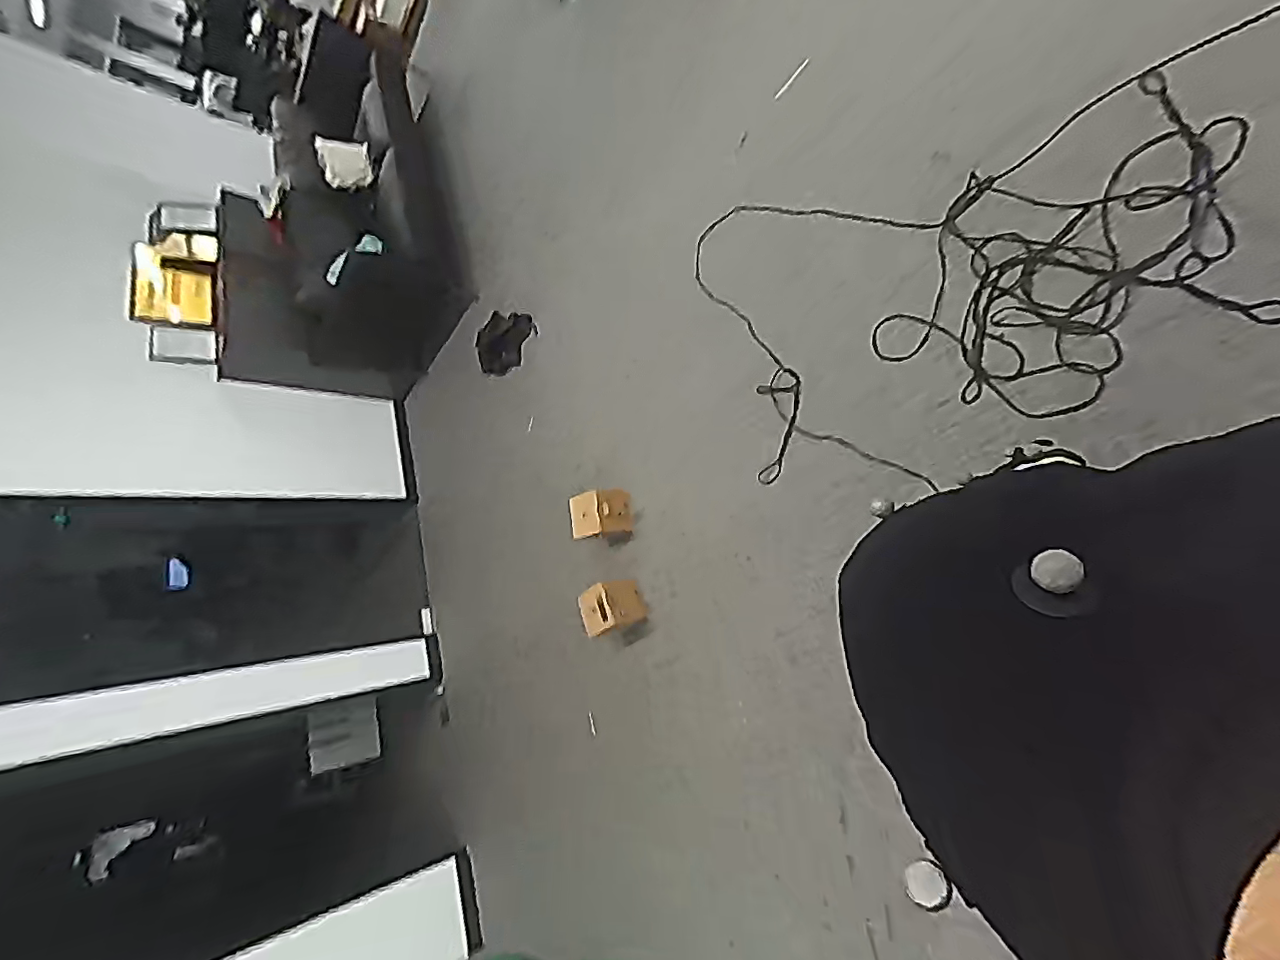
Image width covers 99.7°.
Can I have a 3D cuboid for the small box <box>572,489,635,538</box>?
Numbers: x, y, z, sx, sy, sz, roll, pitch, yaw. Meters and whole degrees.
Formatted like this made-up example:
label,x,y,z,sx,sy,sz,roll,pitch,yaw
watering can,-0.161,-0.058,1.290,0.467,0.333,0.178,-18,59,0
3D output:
label,x,y,z,sx,sy,sz,roll,pitch,yaw
small box,-0.143,0.135,2.121,0.179,0.176,0.168,-21,72,45
